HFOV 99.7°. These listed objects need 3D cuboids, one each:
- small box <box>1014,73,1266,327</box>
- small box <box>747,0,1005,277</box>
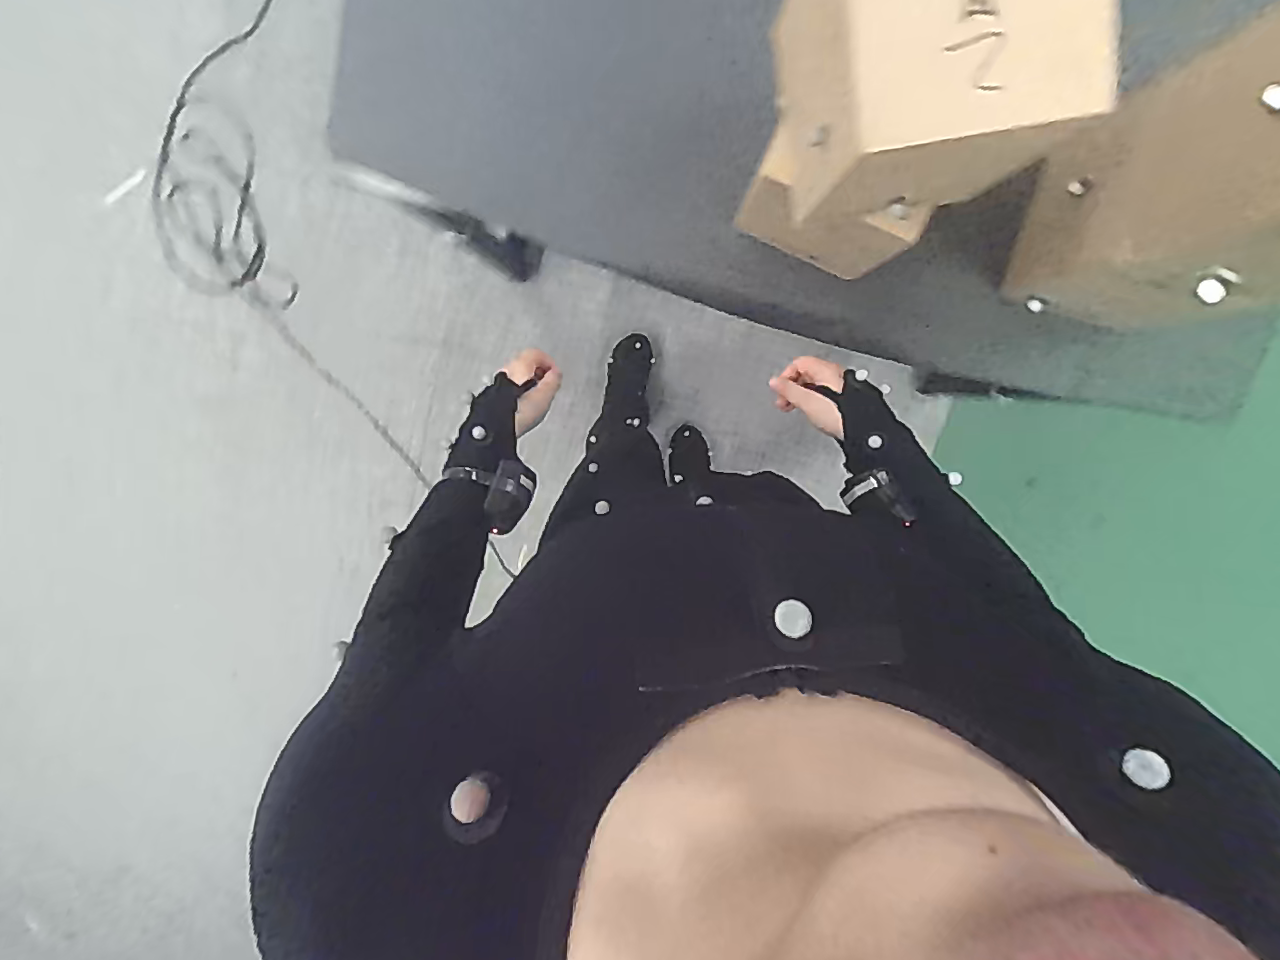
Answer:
[{"bbox_3d":[0.553,-0.278,0.584,0.168,0.176,0.179,16,97,0],"label":"small box"},{"bbox_3d":[0.231,-0.350,0.585,0.168,0.176,0.179,24,98,-2],"label":"small box"}]
